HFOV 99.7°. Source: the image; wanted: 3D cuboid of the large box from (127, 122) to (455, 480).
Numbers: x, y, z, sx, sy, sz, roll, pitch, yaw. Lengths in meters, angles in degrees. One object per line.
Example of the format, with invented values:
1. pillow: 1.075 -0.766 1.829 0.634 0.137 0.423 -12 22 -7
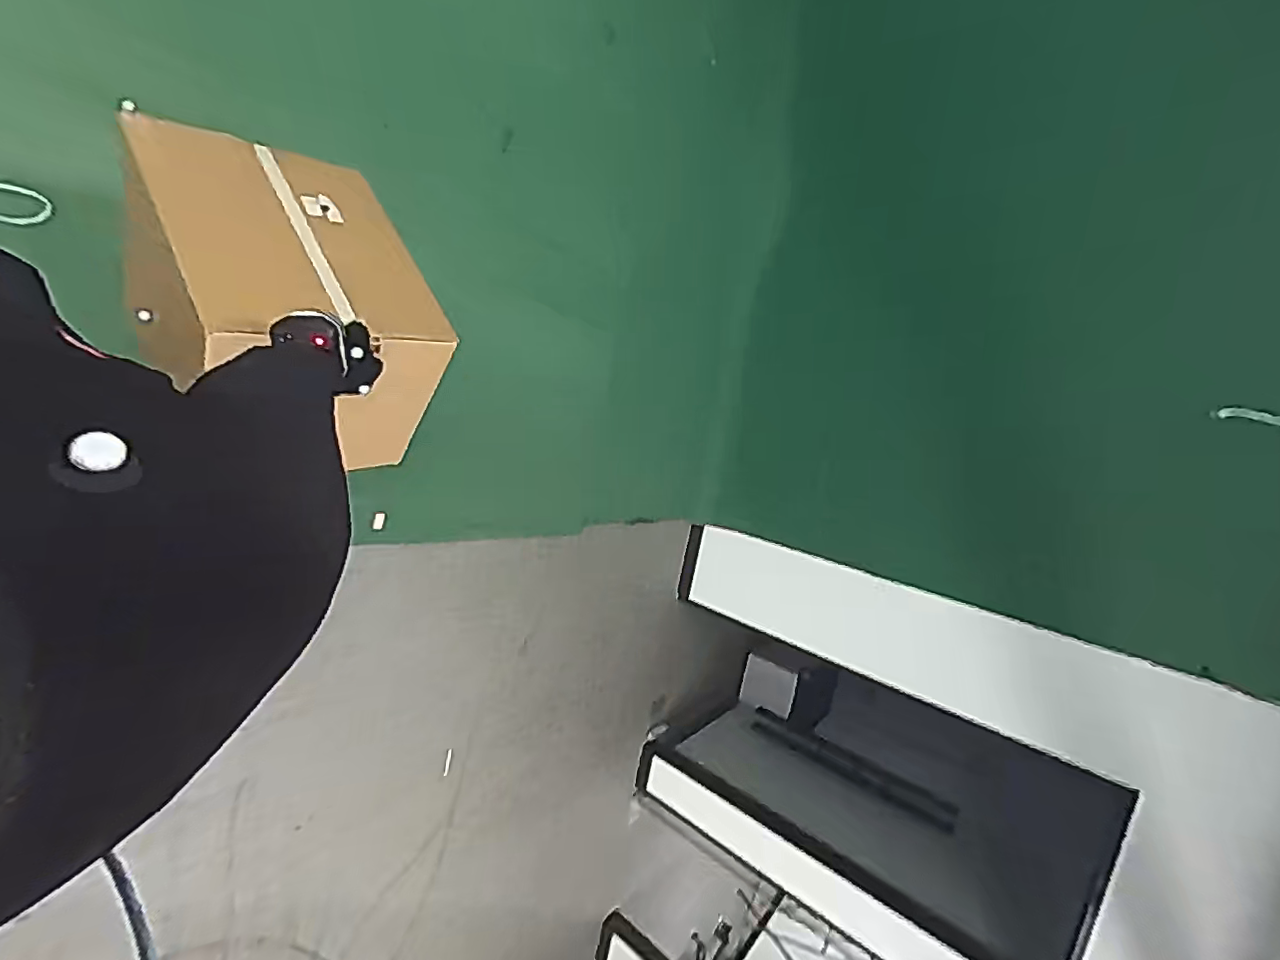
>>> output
1. large box: -0.567 -0.264 0.873 0.320 0.408 0.320 -13 154 -49
